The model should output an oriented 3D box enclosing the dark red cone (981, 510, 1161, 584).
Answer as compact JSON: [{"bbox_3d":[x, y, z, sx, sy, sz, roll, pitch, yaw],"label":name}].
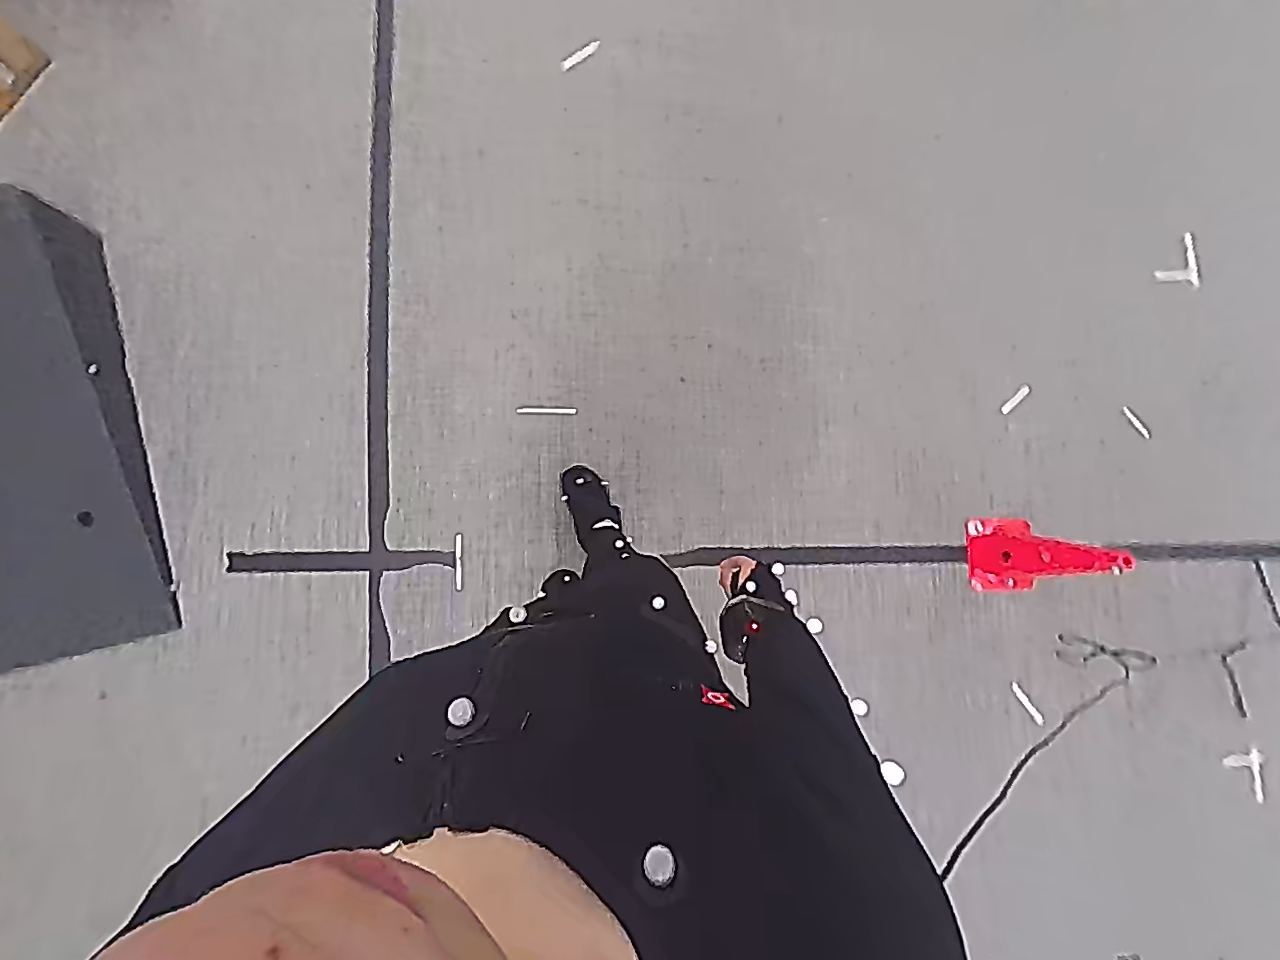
[{"bbox_3d":[1.054,0.174,1.332,0.202,0.394,0.201,-1,87,-8],"label":"dark red cone"}]
